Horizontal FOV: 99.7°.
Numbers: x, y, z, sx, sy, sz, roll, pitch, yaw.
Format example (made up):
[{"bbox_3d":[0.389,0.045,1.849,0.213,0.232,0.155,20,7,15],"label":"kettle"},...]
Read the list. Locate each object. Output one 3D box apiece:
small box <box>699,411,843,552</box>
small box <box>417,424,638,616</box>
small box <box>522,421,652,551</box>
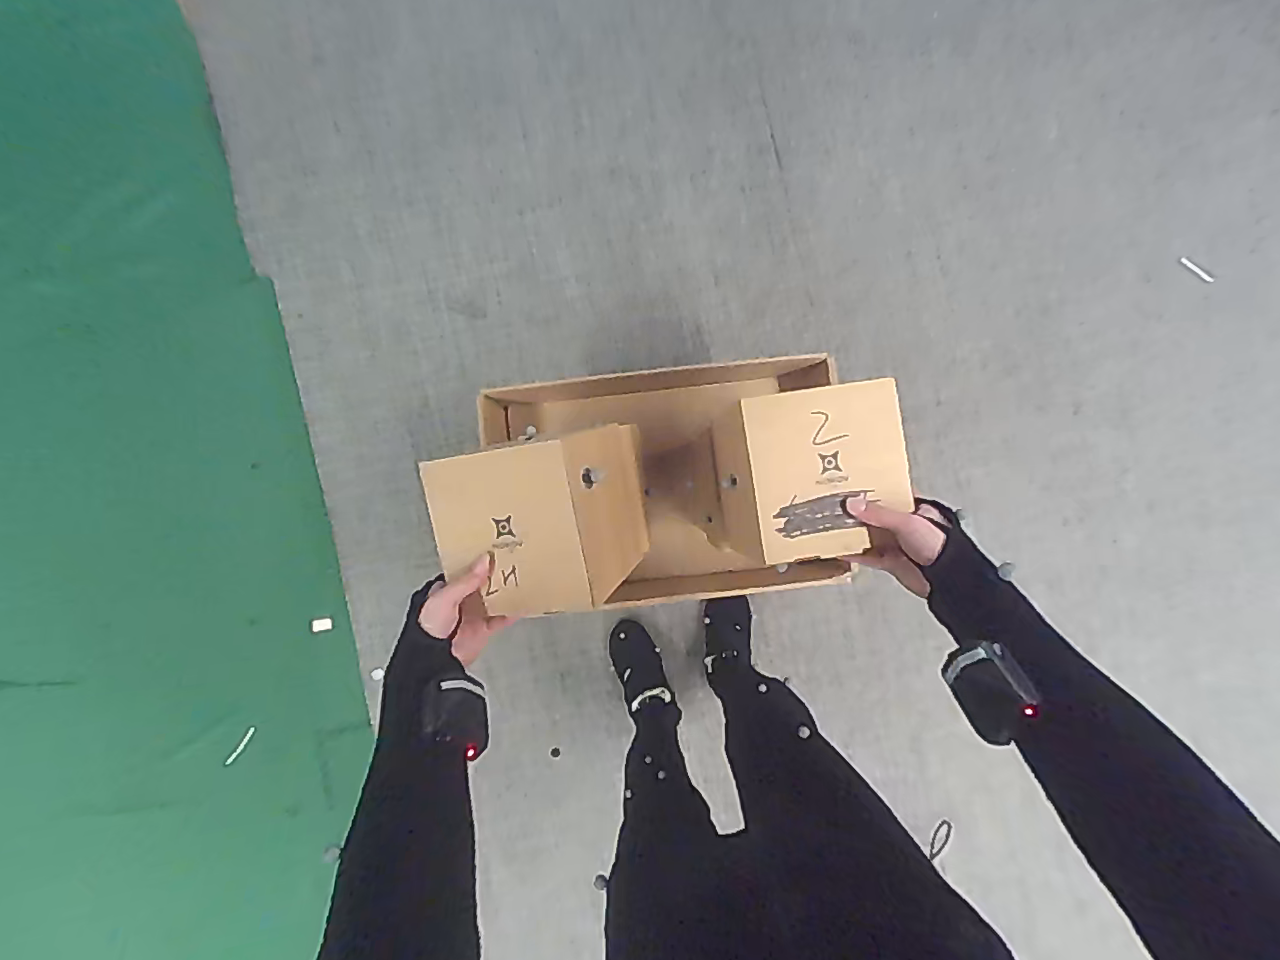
[{"bbox_3d":[0.181,0.002,0.793,0.168,0.176,0.179,-6,89,0],"label":"small box"},{"bbox_3d":[-0.112,0.035,0.607,0.168,0.176,0.179,-7,99,18],"label":"small box"},{"bbox_3d":[-0.073,0.014,0.799,0.168,0.176,0.179,-6,90,0],"label":"small box"}]
